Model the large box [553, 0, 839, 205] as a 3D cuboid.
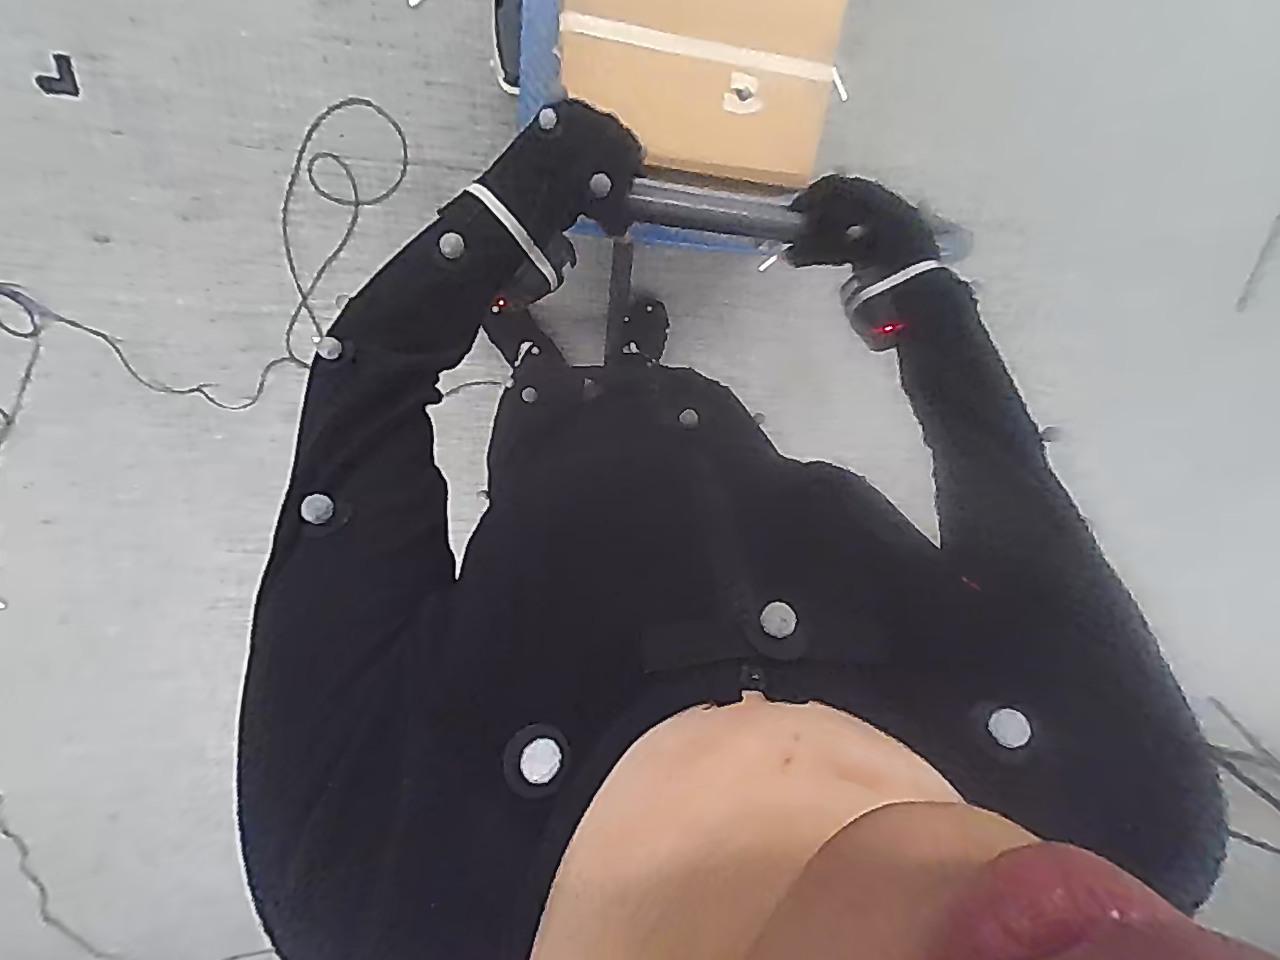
[{"bbox_3d":[0.060,-0.671,0.917,0.408,0.320,0.320,3,113,-11],"label":"large box"}]
